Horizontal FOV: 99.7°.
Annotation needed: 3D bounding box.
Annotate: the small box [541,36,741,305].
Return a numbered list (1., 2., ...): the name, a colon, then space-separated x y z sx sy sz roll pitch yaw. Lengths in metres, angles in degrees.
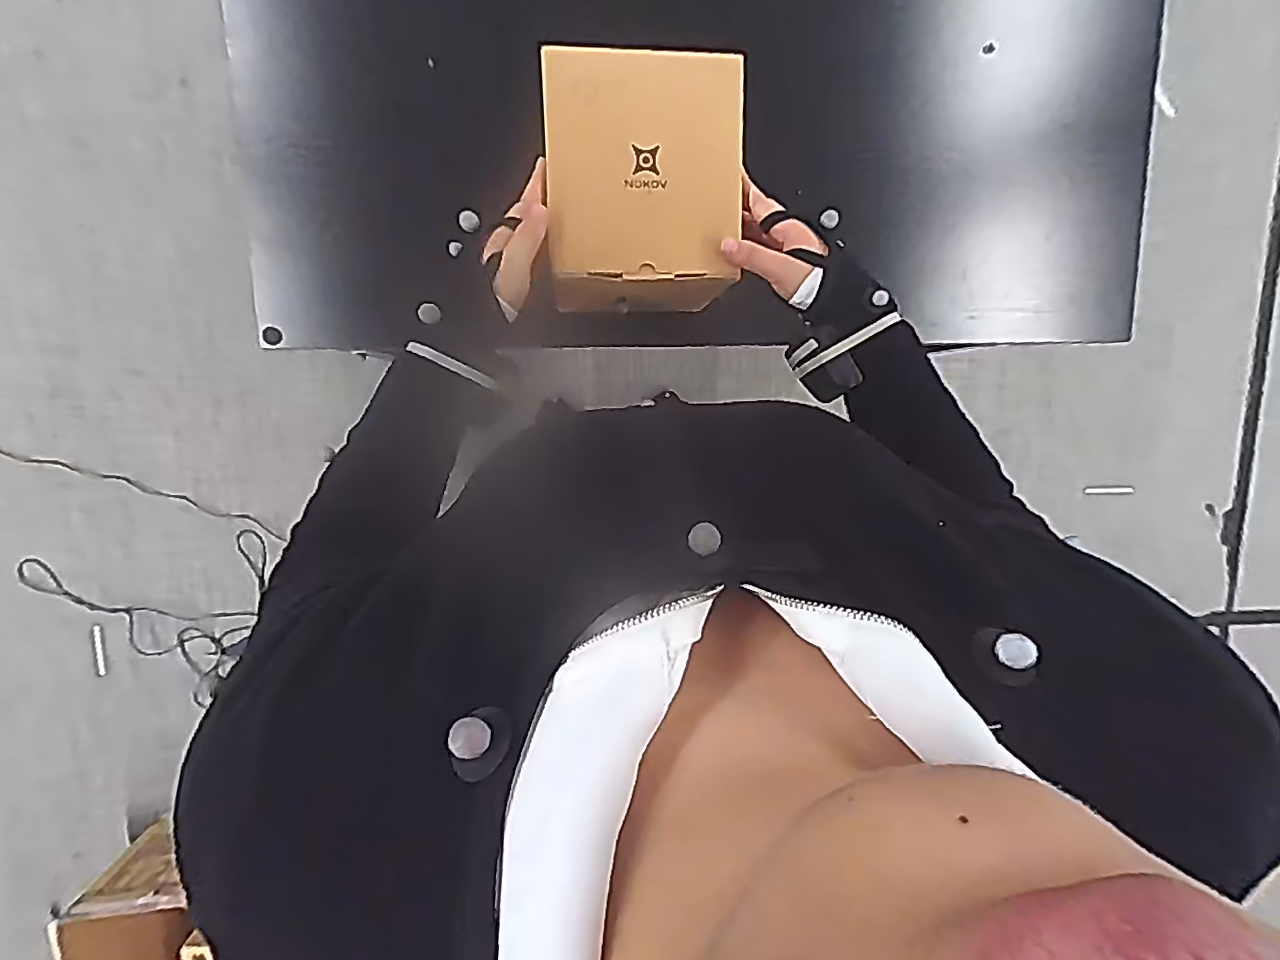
1. small box: -0.007 -0.275 0.522 0.168 0.176 0.179 -2 99 -6
